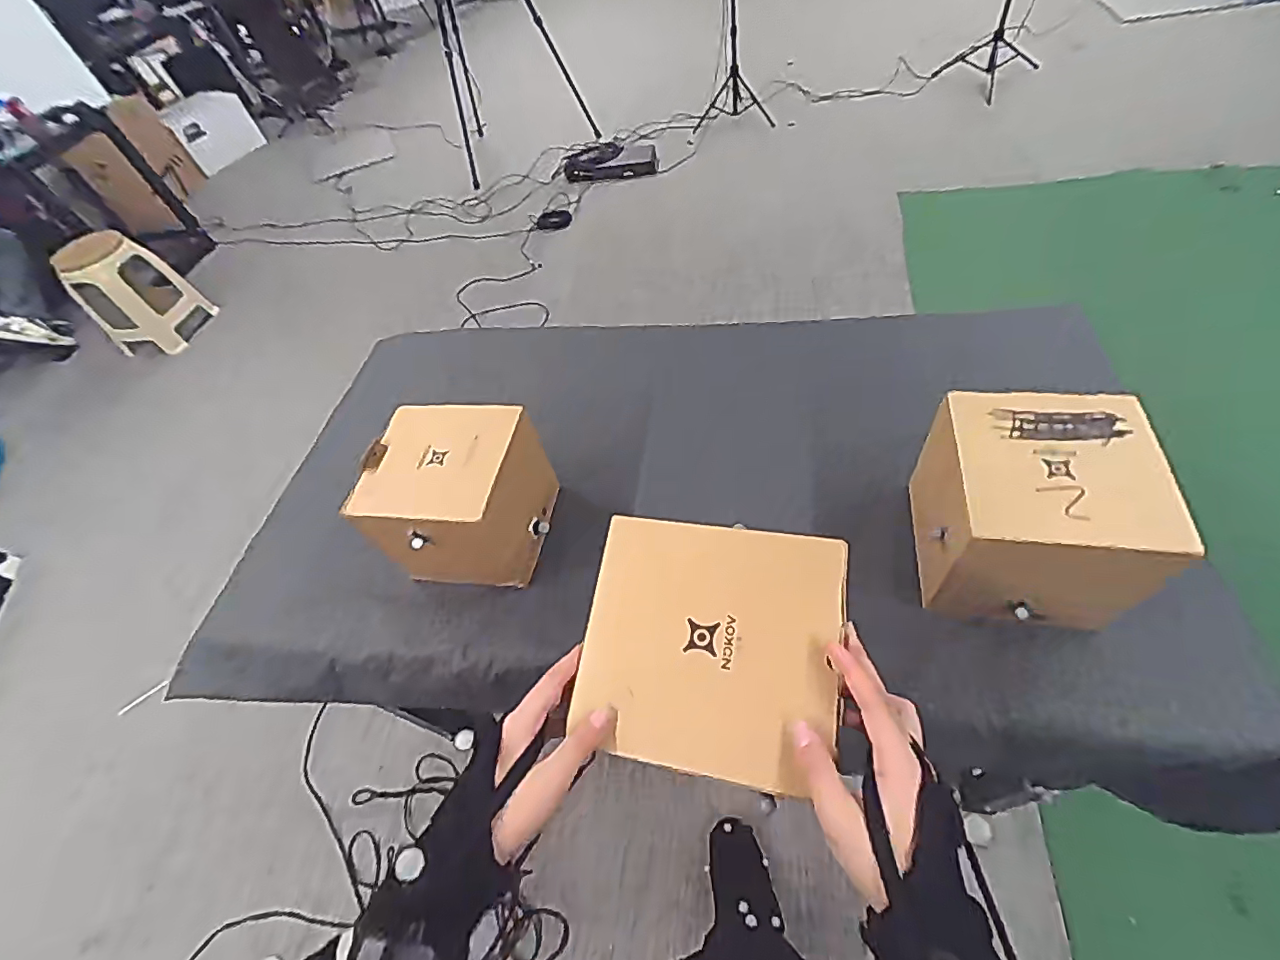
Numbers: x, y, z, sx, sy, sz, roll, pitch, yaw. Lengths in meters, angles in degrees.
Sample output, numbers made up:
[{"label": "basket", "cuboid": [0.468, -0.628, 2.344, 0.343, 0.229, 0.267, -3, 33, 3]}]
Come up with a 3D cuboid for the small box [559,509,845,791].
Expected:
[{"label": "small box", "cuboid": [0.060, 0.138, 0.437, 0.179, 0.176, 0.168, 6, 65, 14]}]

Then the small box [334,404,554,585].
[{"label": "small box", "cuboid": [-0.229, 0.021, 0.683, 0.179, 0.176, 0.168, 3, 55, 12]}]
